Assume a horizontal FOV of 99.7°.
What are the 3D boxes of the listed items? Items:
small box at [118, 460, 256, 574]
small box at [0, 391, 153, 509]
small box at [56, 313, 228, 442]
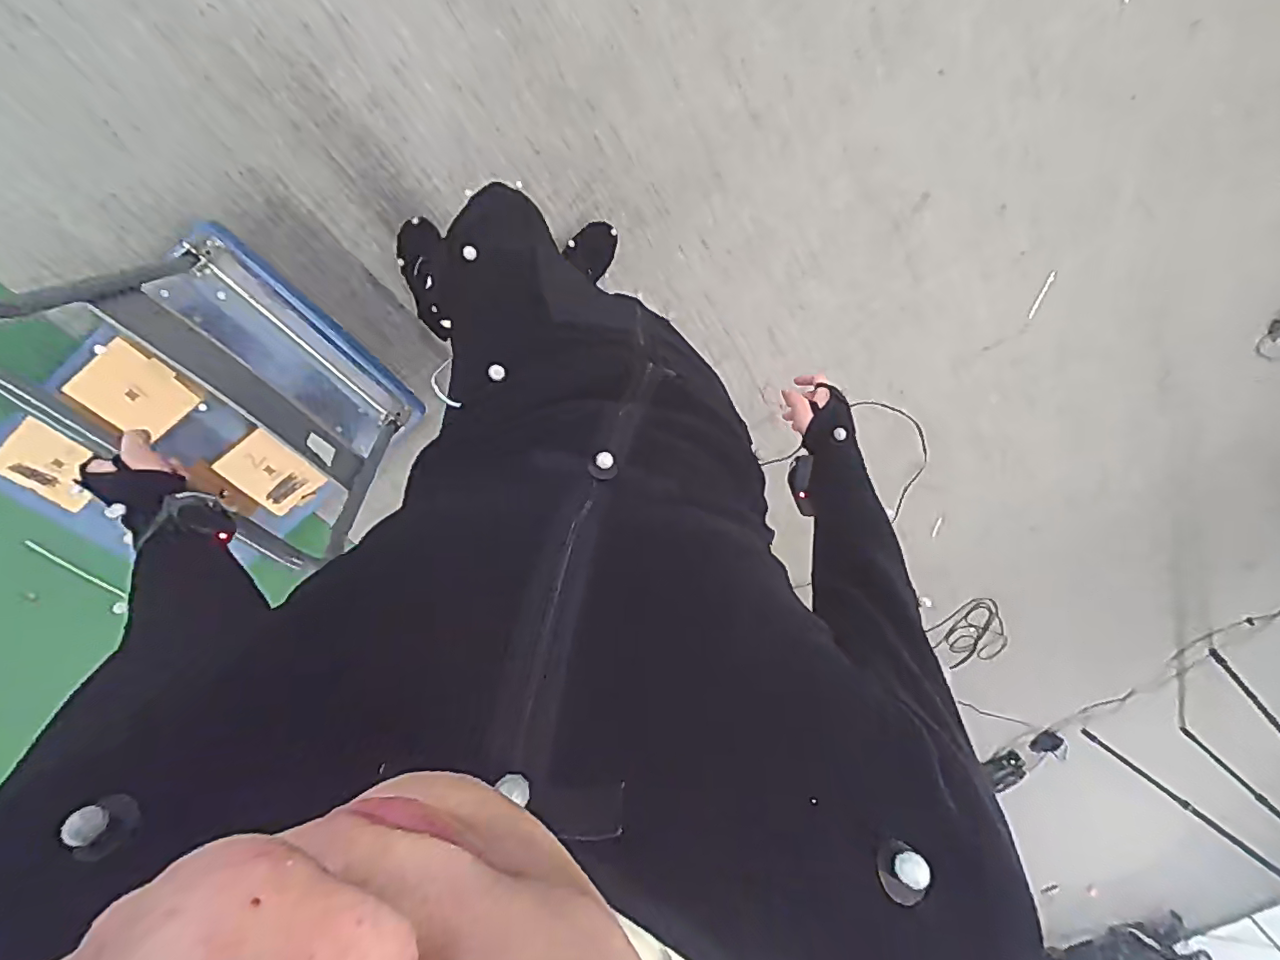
[{"bbox_3d":[-1.068,0.083,1.295,0.179,0.176,0.168,-39,120,12],"label":"small box"},{"bbox_3d":[-1.217,-0.077,1.164,0.179,0.176,0.168,-38,122,10],"label":"small box"},{"bbox_3d":[-1.015,-0.216,1.123,0.179,0.176,0.168,-35,122,9],"label":"small box"}]
